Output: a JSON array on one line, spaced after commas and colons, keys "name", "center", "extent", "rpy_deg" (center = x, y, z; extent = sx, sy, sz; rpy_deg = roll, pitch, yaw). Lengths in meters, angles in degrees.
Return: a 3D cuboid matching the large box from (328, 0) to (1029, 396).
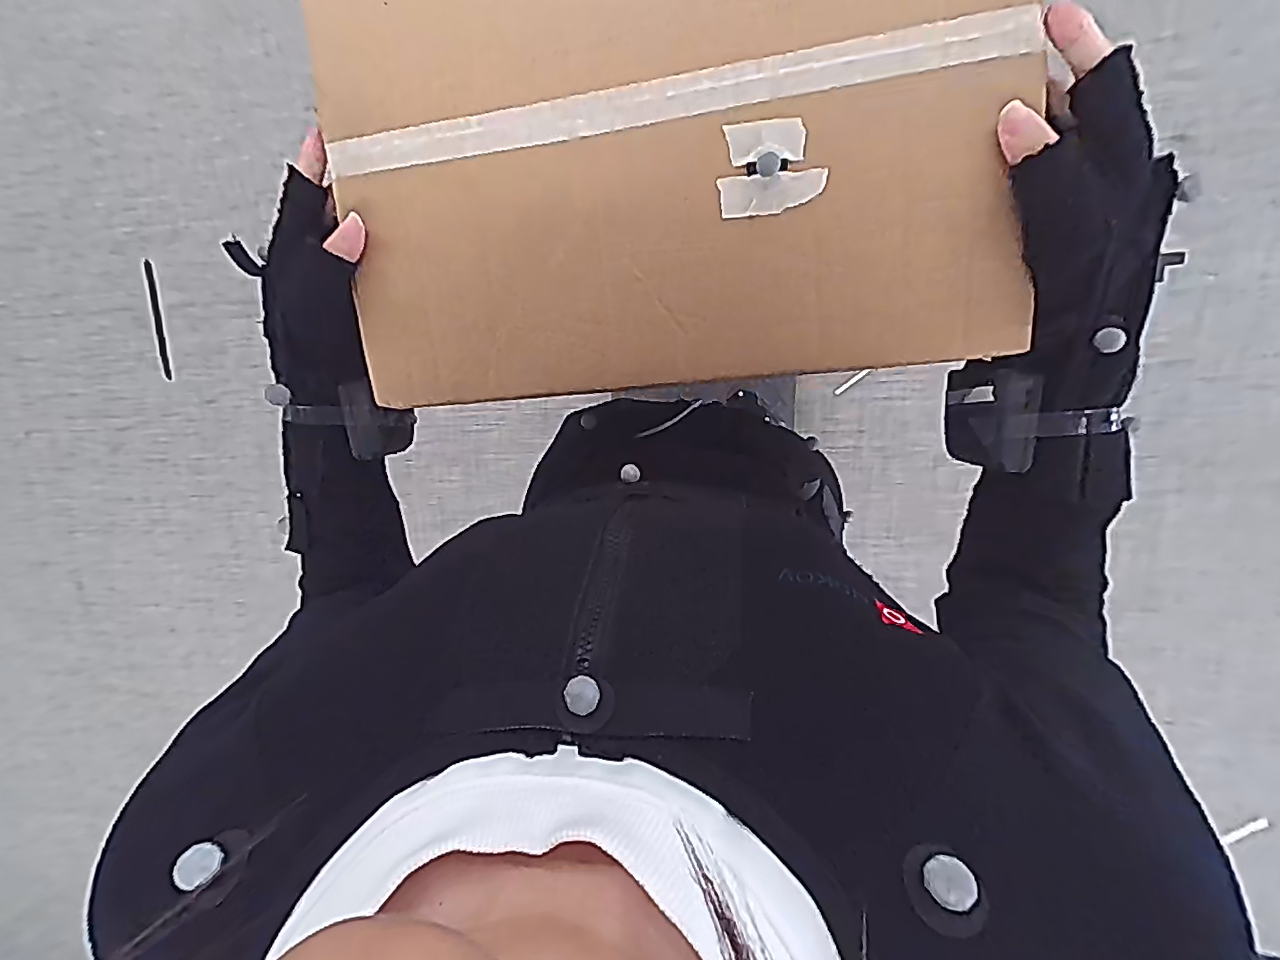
[{"name": "large box", "center": [0.031, -0.252, 0.462], "extent": [0.408, 0.320, 0.320], "rpy_deg": [-4, 102, 10]}]
